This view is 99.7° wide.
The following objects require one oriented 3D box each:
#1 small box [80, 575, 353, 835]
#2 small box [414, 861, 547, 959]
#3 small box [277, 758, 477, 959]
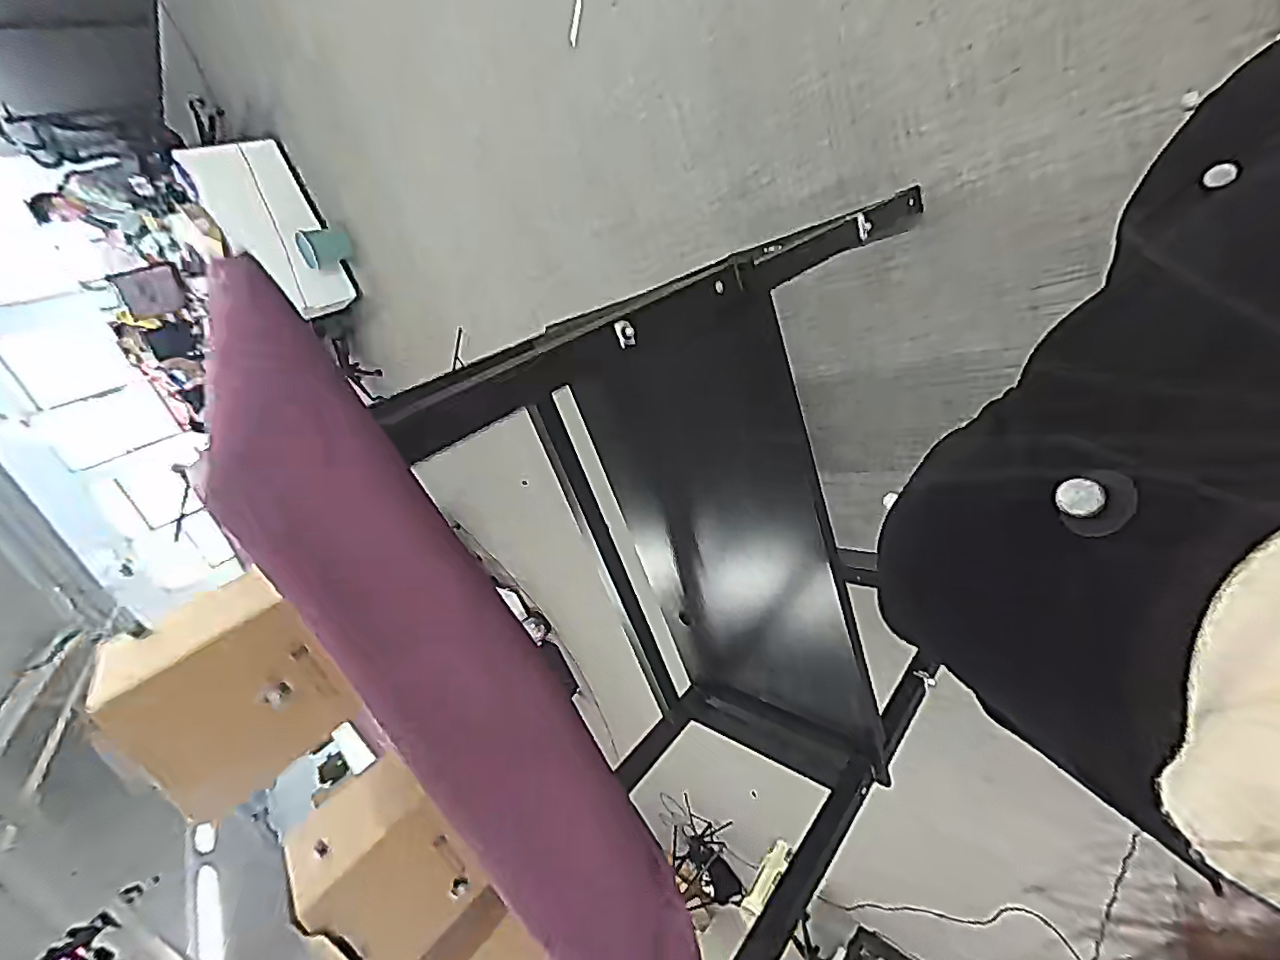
[{"bbox_3d":[-0.450,0.227,0.596,0.179,0.176,0.168,8,126,47],"label":"small box"},{"bbox_3d":[-0.266,0.727,0.816,0.168,0.176,0.179,4,122,50],"label":"small box"},{"bbox_3d":[-0.345,0.515,0.724,0.179,0.176,0.168,-3,117,52],"label":"small box"}]
